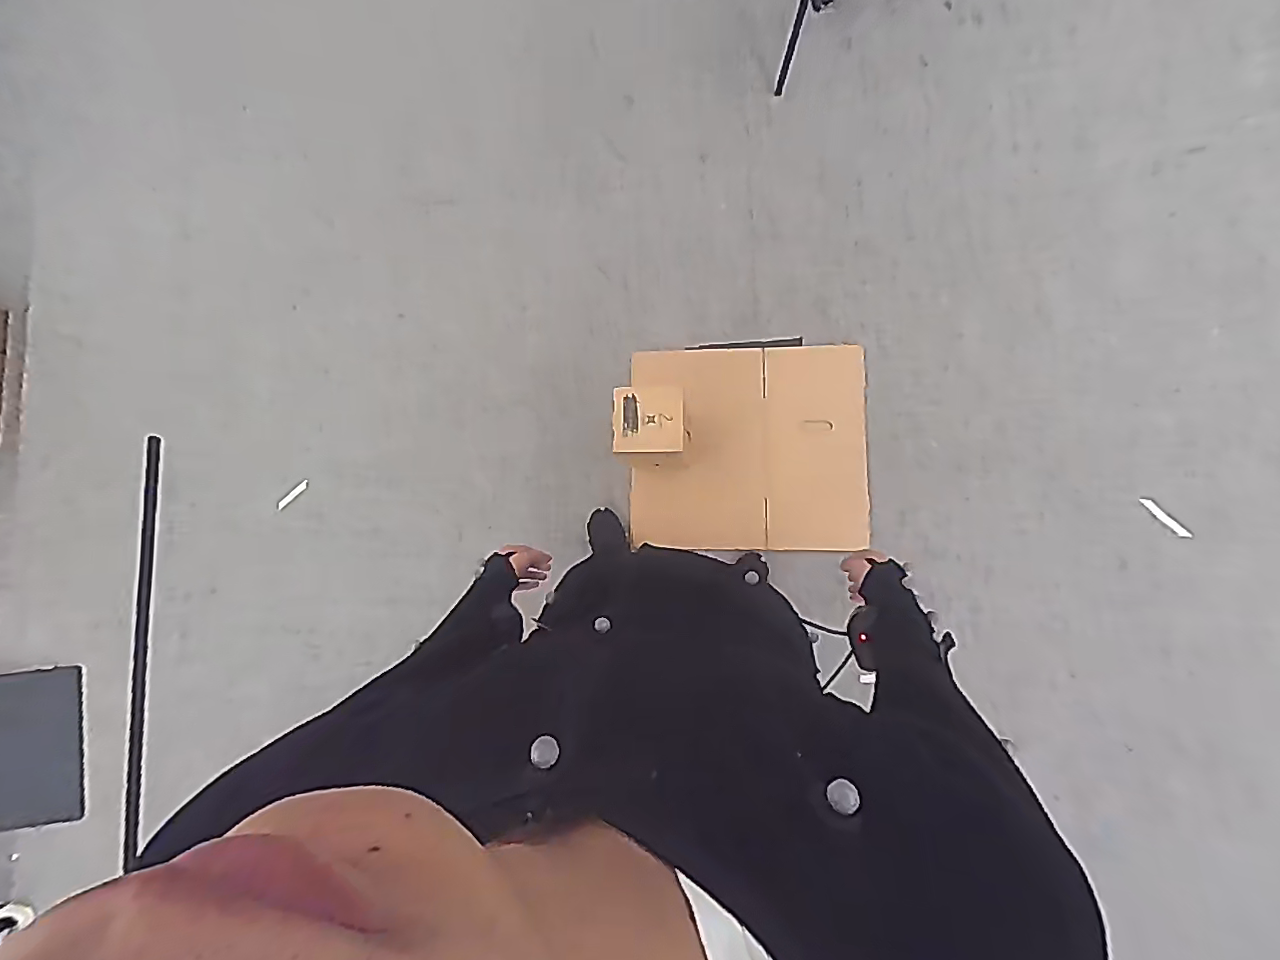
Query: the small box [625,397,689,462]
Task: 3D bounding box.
[{"bbox_3d":[0.053,-0.143,1.567,0.179,0.176,0.168,-1,86,7],"label":"small box"}]
